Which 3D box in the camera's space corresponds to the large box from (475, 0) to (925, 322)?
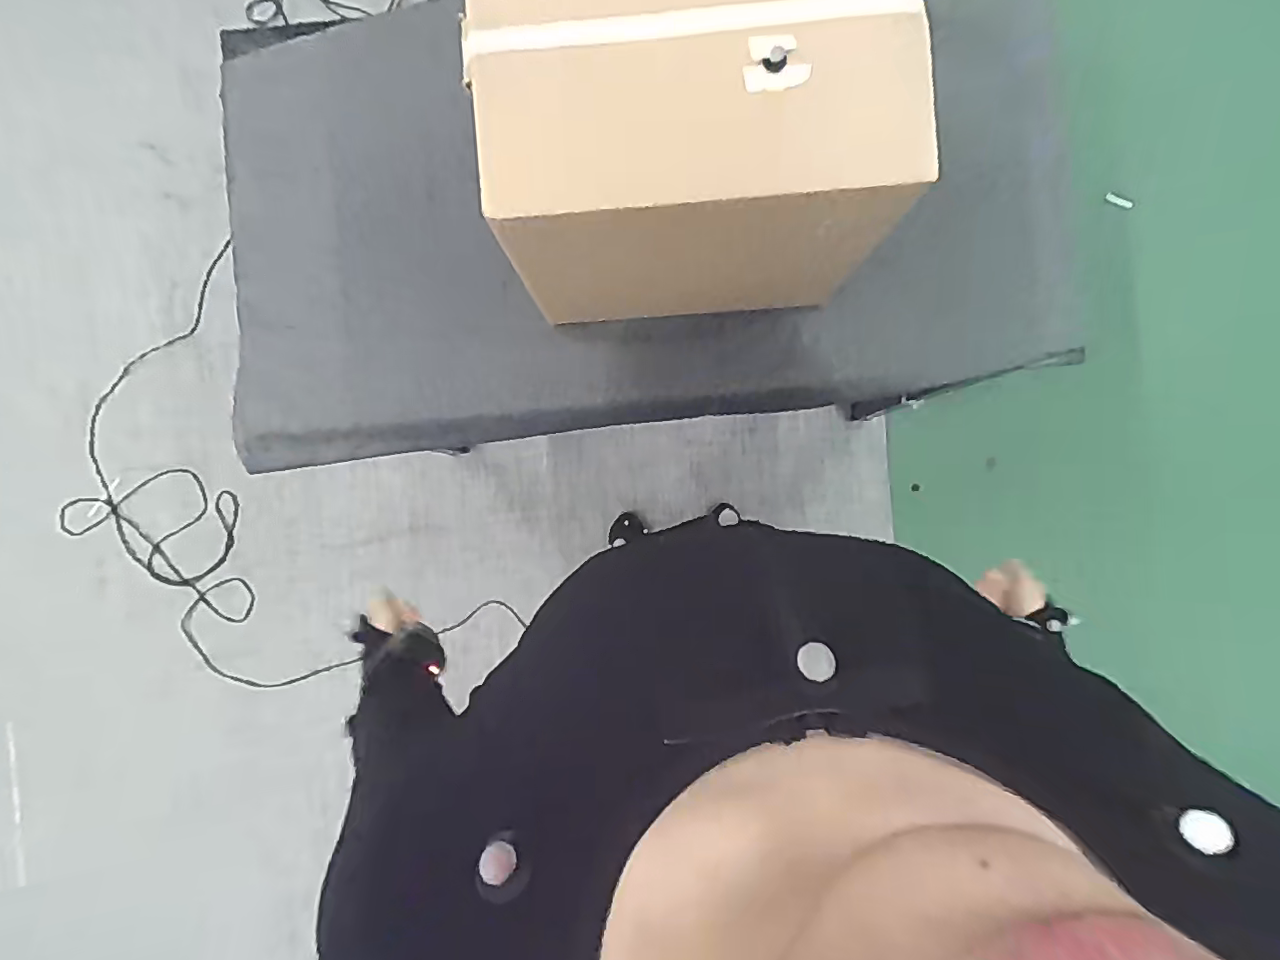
[{"bbox_3d":[0.049,-0.403,0.645,0.408,0.320,0.320,-5,89,1],"label":"large box"}]
